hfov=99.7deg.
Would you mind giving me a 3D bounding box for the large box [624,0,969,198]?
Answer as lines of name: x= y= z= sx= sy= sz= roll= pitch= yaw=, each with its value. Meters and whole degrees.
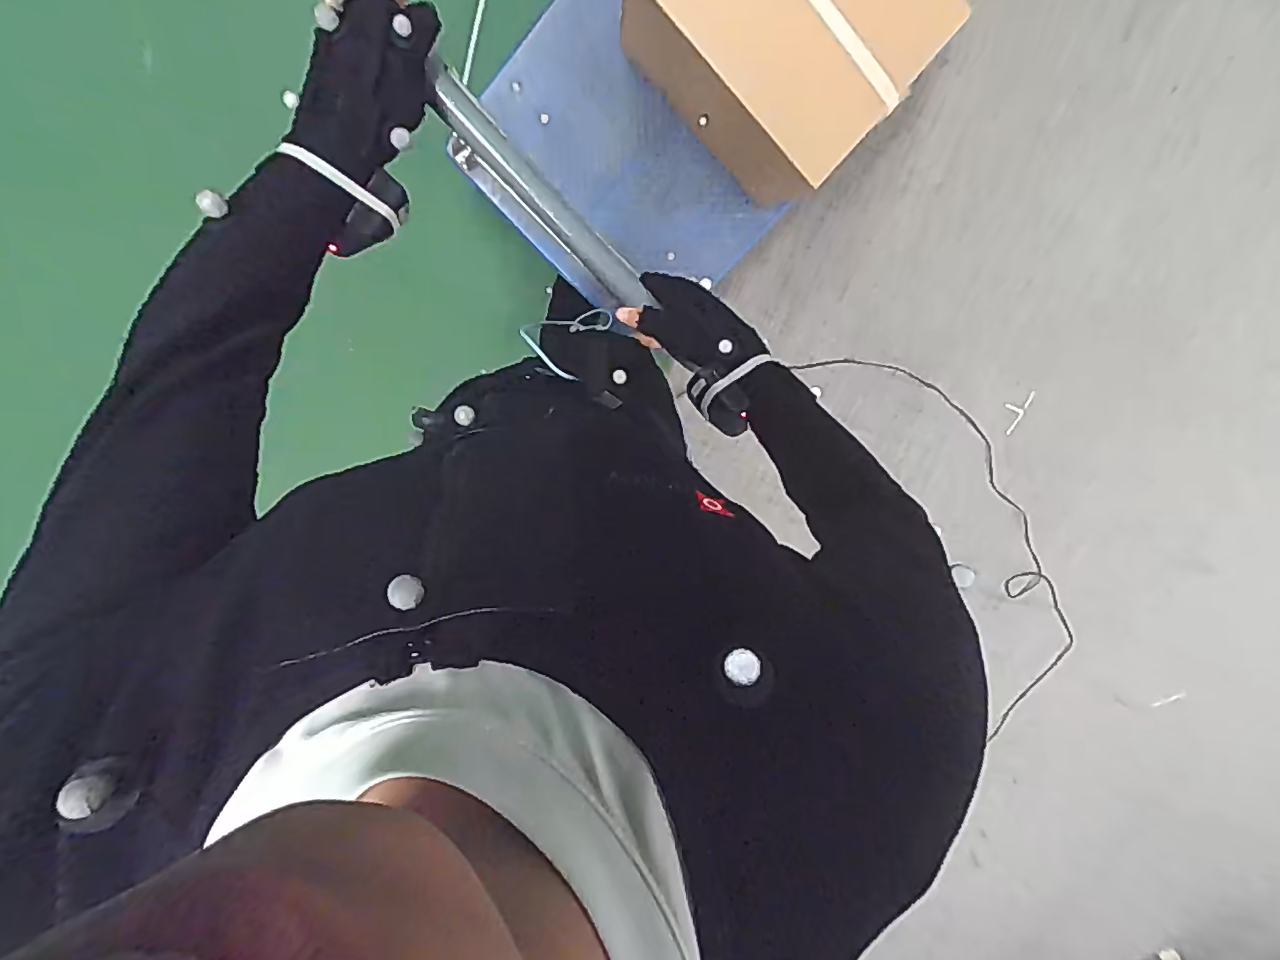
large box: x=0.221 y=-0.749 z=0.893 sx=0.408 sy=0.320 sz=0.320 roll=41 pitch=104 yaw=-16
